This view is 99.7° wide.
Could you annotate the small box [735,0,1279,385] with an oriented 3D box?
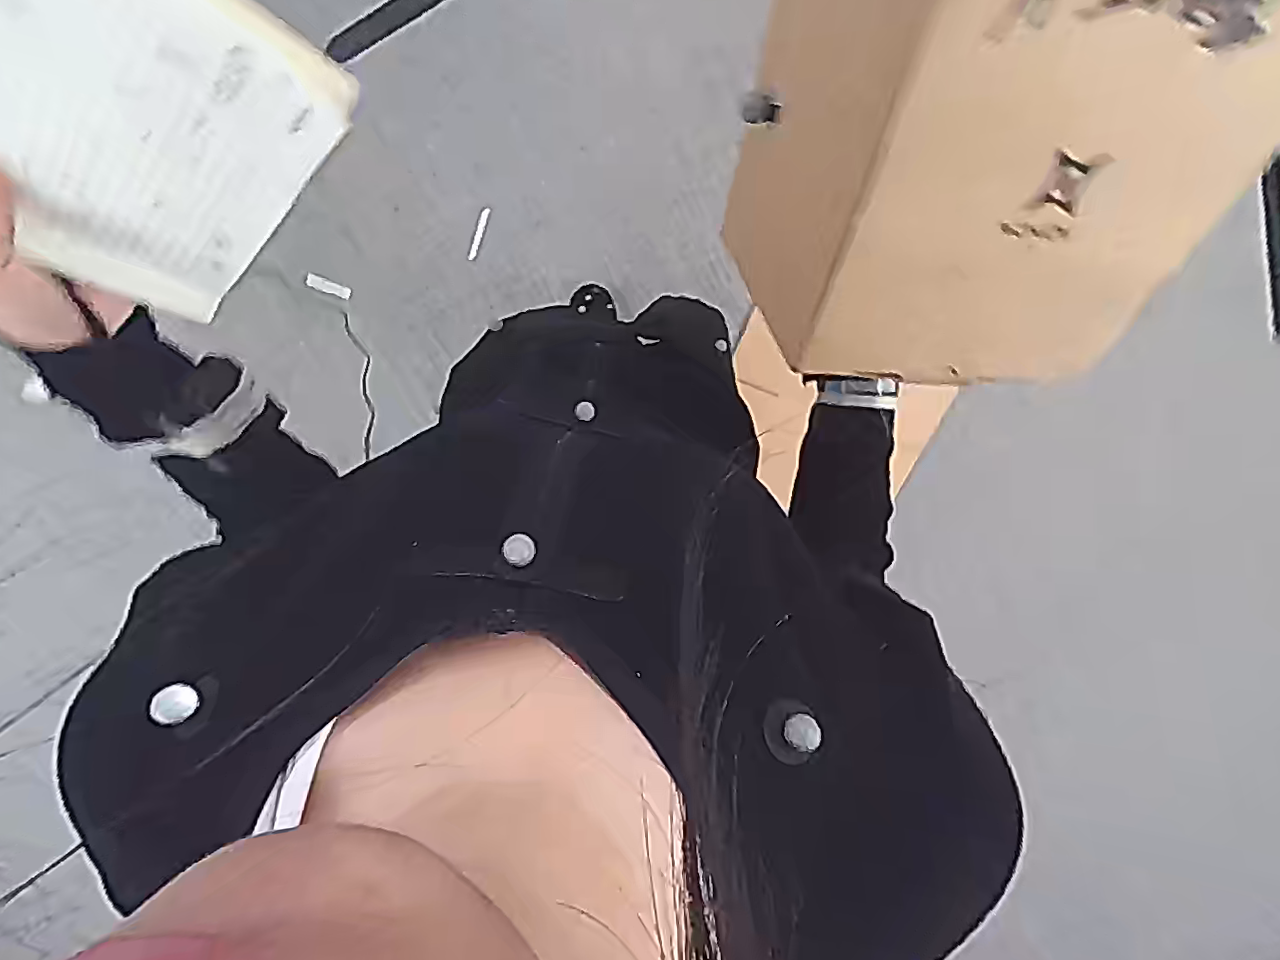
[{"bbox_3d":[0.158,-0.170,0.274,0.168,0.176,0.179,-1,137,-10],"label":"small box"}]
